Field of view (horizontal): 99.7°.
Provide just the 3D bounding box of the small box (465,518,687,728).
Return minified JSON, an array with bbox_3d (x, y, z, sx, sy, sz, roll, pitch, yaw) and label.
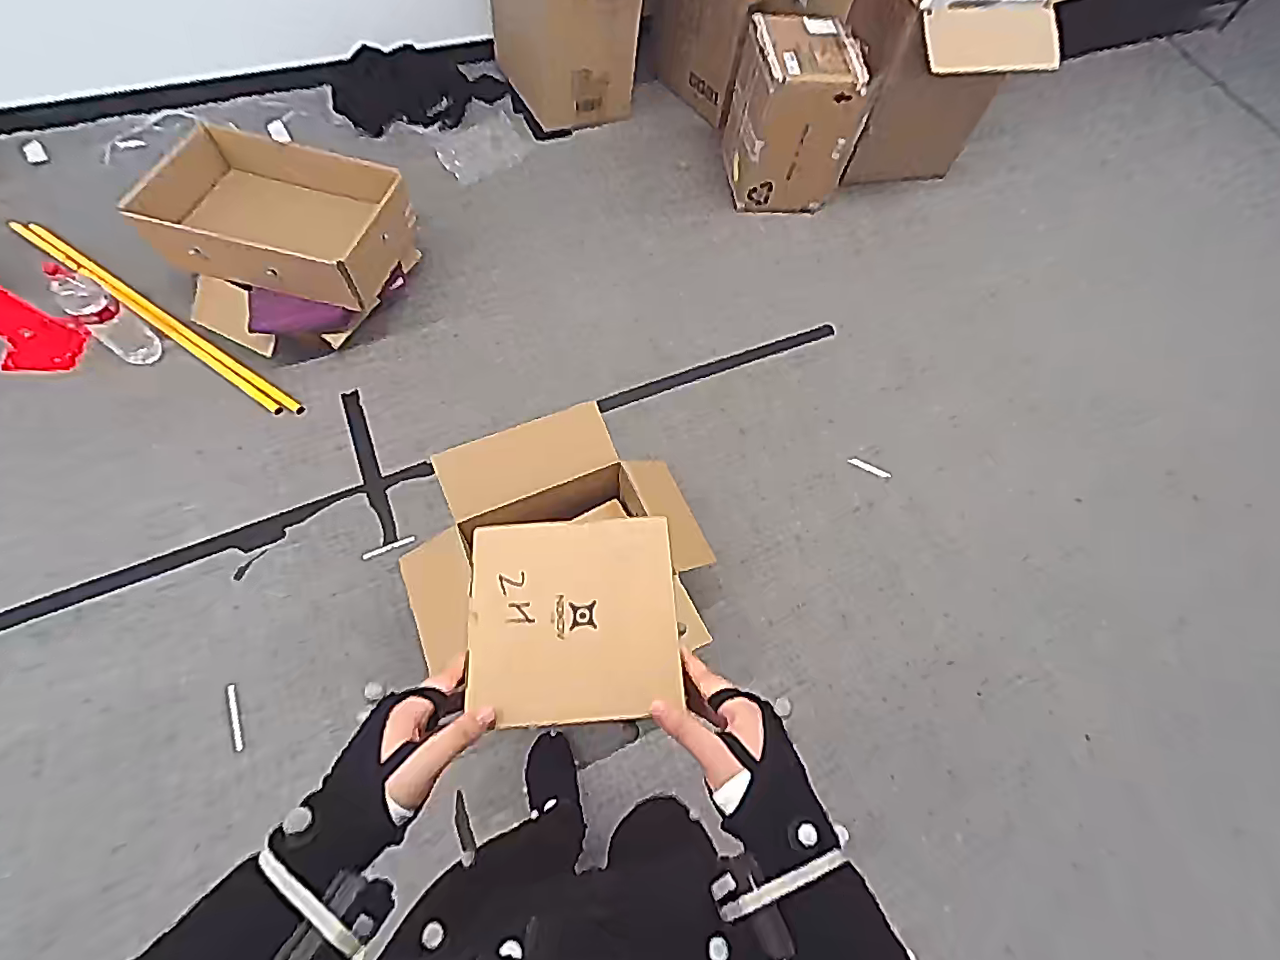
[{"bbox_3d":[-0.056,0.144,0.527,0.179,0.176,0.168,-4,66,-2],"label":"small box"}]
